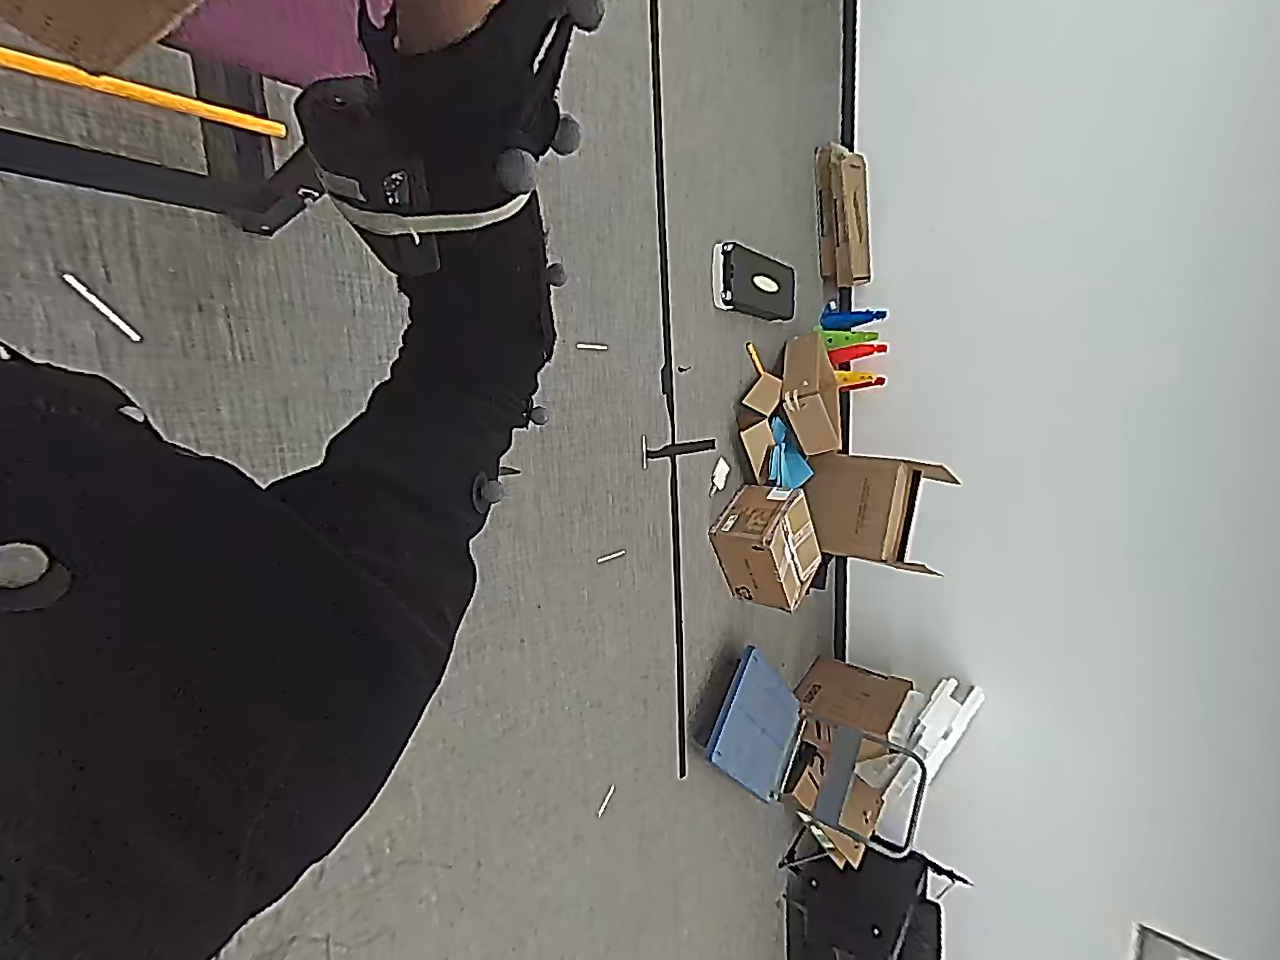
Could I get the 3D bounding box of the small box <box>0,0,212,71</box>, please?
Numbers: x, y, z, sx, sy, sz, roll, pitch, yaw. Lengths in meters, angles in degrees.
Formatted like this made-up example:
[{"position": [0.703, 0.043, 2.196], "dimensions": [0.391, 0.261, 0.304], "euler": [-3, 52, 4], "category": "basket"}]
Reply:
[{"position": [-0.136, -0.215, 0.087], "dimensions": [0.168, 0.176, 0.179], "euler": [27, 84, -54], "category": "small box"}]
